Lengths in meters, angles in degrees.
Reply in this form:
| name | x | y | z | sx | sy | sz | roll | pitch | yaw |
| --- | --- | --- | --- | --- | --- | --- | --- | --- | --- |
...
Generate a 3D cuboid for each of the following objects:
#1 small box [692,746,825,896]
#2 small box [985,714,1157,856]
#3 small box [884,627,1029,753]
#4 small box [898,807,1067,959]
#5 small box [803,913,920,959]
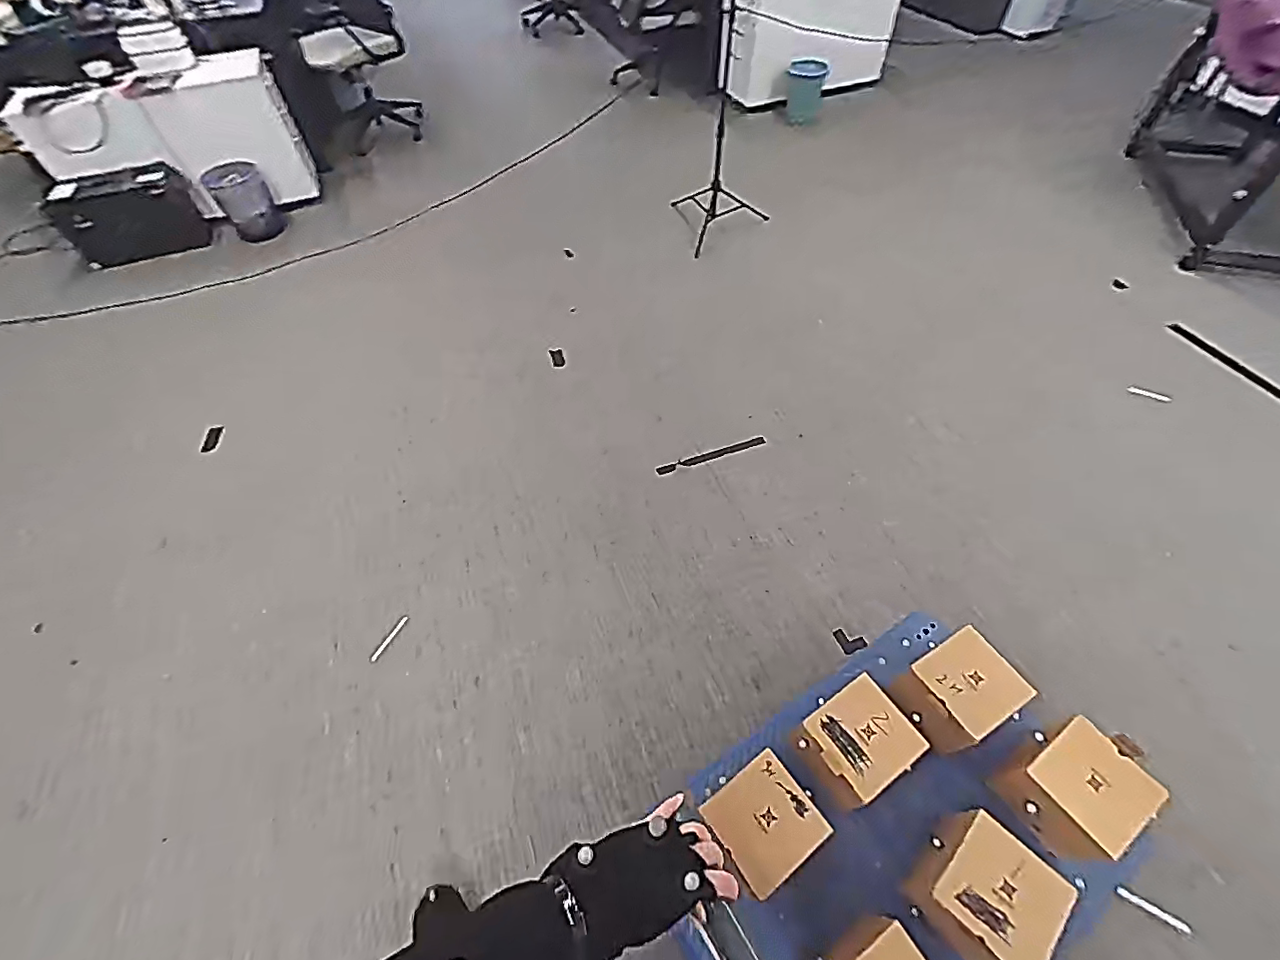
| name | x | y | z | sx | sy | sz | roll | pitch | yaw |
| --- | --- | --- | --- | --- | --- | --- | --- | --- | --- |
| small box | 0.213 | 0.640 | 1.020 | 0.179 | 0.176 | 0.168 | -30 | 60 | -18 |
| small box | 0.809 | 0.591 | 1.039 | 0.179 | 0.176 | 0.168 | -30 | 58 | -18 |
| small box | 0.656 | 0.447 | 1.145 | 0.179 | 0.176 | 0.168 | -26 | 57 | -15 |
| small box | 0.585 | 0.721 | 0.952 | 0.179 | 0.176 | 0.168 | -38 | 62 | -24 |
| small box | 0.373 | 0.843 | 0.872 | 0.179 | 0.176 | 0.168 | -26 | 58 | -17 |
